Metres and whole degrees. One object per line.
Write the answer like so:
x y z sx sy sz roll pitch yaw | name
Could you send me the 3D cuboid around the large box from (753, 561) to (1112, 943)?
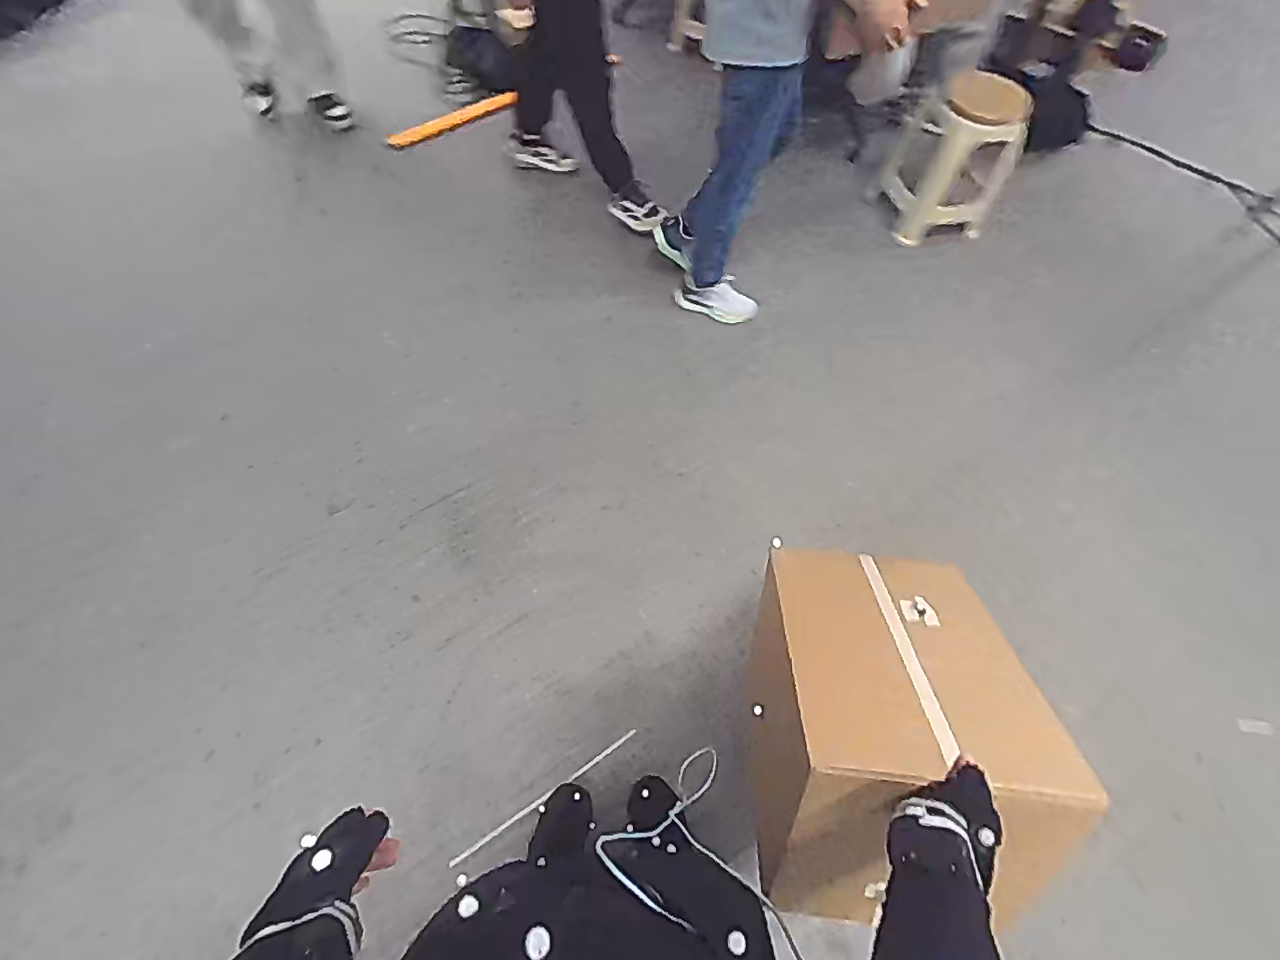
0.358 0.376 0.816 0.320 0.320 0.408 6 29 4 | large box
